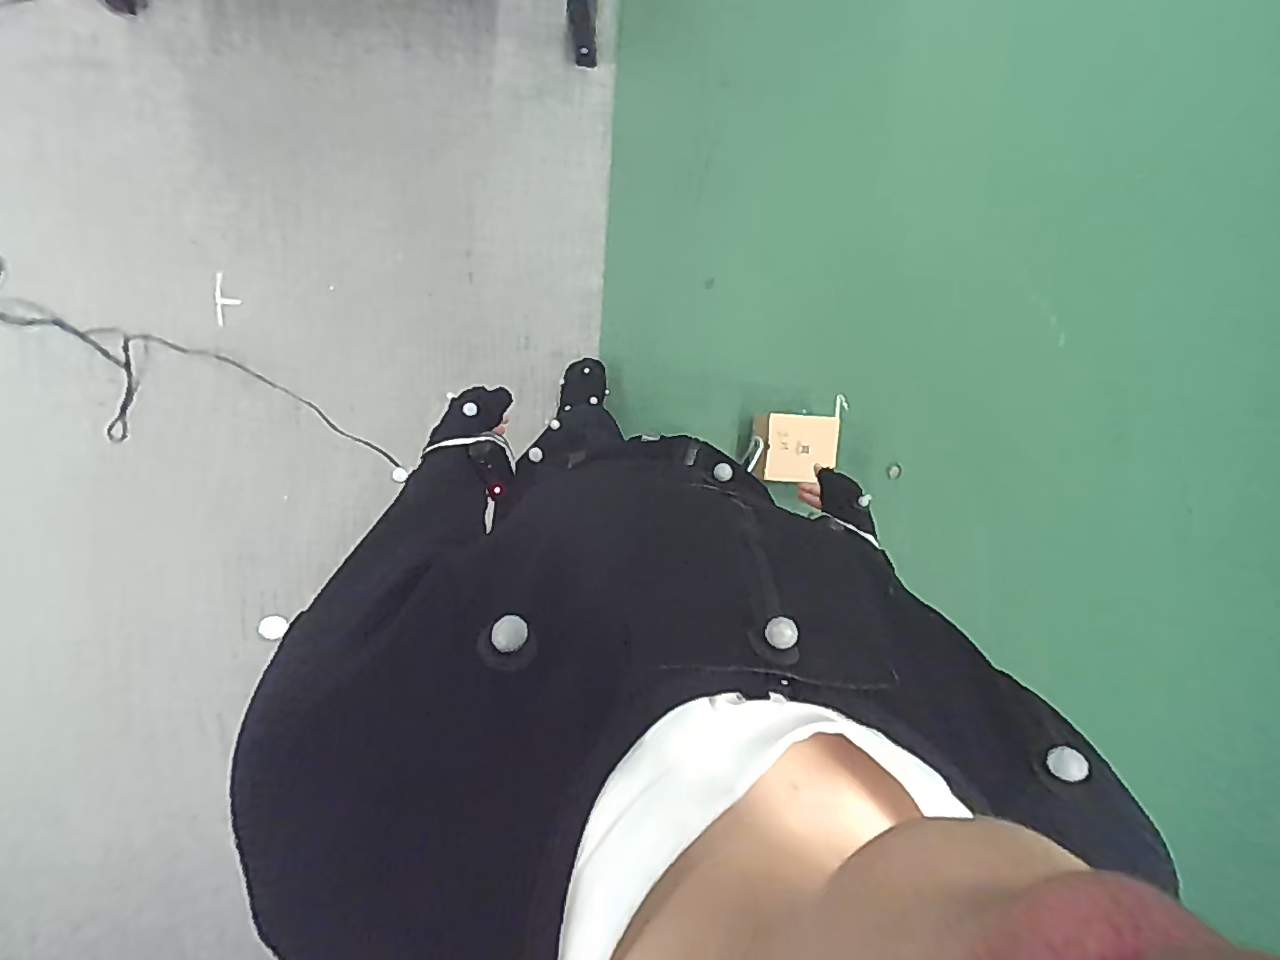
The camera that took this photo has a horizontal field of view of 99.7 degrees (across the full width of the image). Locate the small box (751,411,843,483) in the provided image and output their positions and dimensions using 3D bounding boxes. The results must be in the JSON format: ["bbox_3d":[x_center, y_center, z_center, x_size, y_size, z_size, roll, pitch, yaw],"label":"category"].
[{"bbox_3d":[0.396,-0.089,1.387,0.179,0.176,0.168,4,96,-2],"label":"small box"}]
